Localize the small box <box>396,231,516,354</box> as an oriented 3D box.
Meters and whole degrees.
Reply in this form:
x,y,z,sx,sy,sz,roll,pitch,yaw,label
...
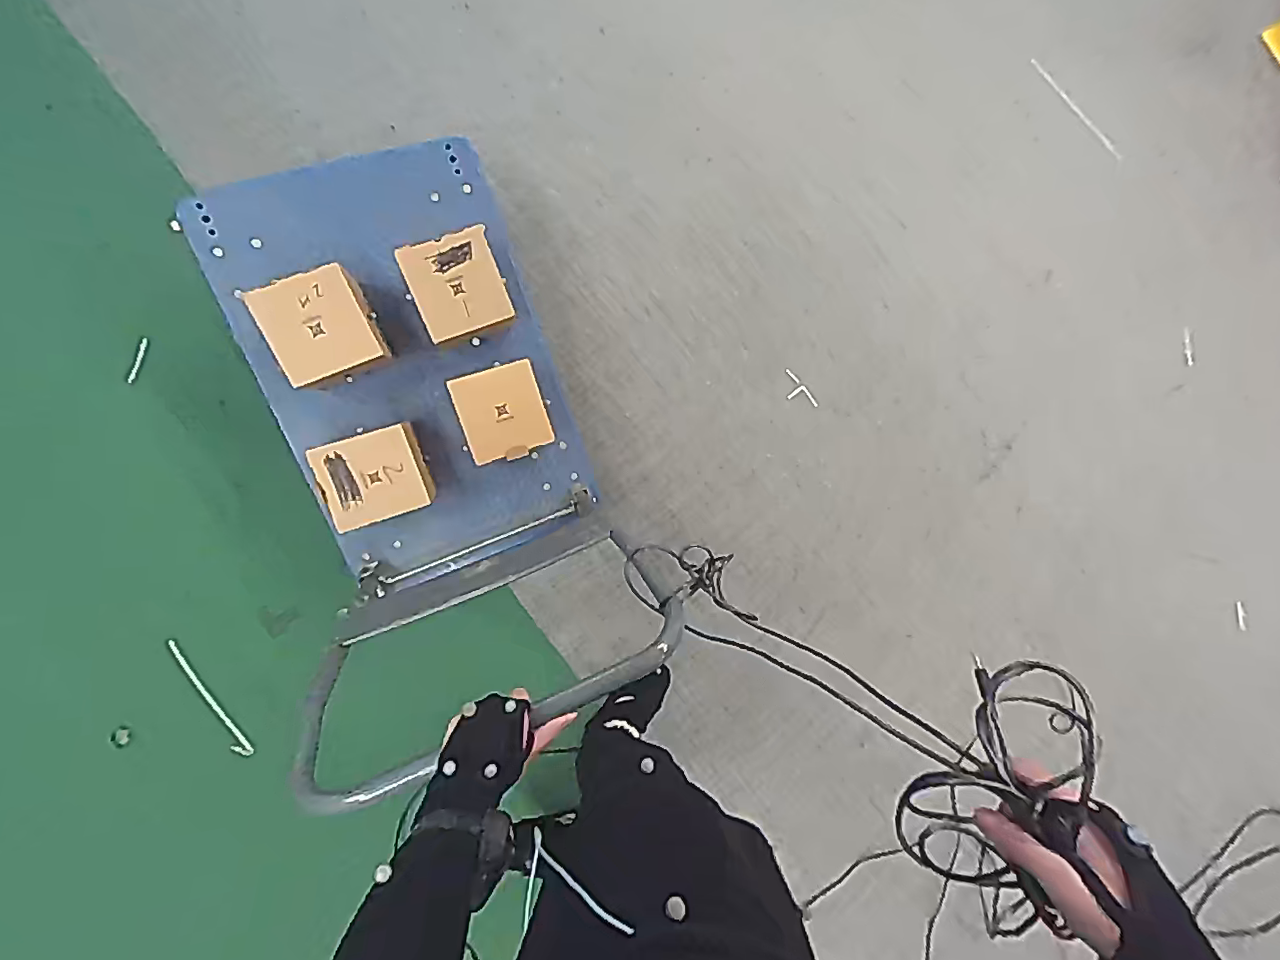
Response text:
x,y,z,sx,sy,sz,roll,pitch,yaw,label
-0.364,-0.367,1.088,0.168,0.176,0.179,-24,104,-11,small box

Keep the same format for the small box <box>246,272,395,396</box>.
x,y,z,sx,sy,sz,roll,pitch,yaw,label
-0.595,-0.271,1.037,0.168,0.176,0.179,-26,103,-12,small box

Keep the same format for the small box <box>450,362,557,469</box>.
x,y,z,sx,sy,sz,roll,pitch,yaw,label
-0.289,-0.137,1.142,0.168,0.176,0.179,-20,103,-12,small box
